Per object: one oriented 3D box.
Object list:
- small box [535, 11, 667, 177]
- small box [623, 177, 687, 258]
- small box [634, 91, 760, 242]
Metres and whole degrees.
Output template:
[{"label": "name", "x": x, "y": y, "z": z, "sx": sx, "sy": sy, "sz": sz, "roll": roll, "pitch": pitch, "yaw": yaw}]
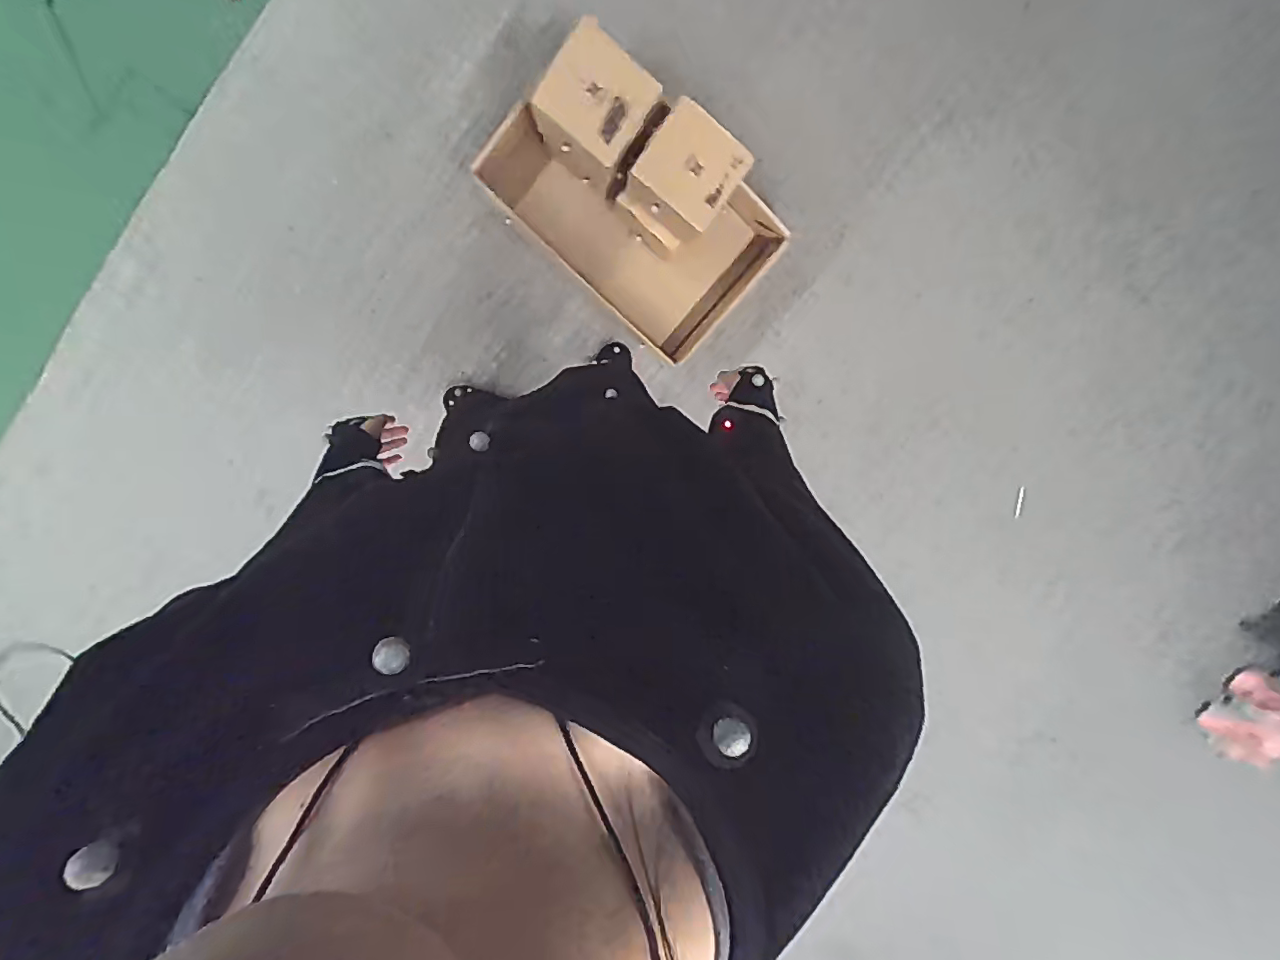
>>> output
[{"label": "small box", "x": -0.071, "y": -0.705, "z": 1.020, "sx": 0.179, "sy": 0.176, "sz": 0.168, "roll": 37, "pitch": 101, "yaw": -13}, {"label": "small box", "x": 0.073, "y": -0.633, "z": 1.222, "sx": 0.168, "sy": 0.176, "sz": 0.179, "roll": 41, "pitch": 100, "yaw": -12}, {"label": "small box", "x": 0.101, "y": -0.598, "z": 1.063, "sx": 0.179, "sy": 0.176, "sz": 0.168, "roll": 37, "pitch": 100, "yaw": -11}]
